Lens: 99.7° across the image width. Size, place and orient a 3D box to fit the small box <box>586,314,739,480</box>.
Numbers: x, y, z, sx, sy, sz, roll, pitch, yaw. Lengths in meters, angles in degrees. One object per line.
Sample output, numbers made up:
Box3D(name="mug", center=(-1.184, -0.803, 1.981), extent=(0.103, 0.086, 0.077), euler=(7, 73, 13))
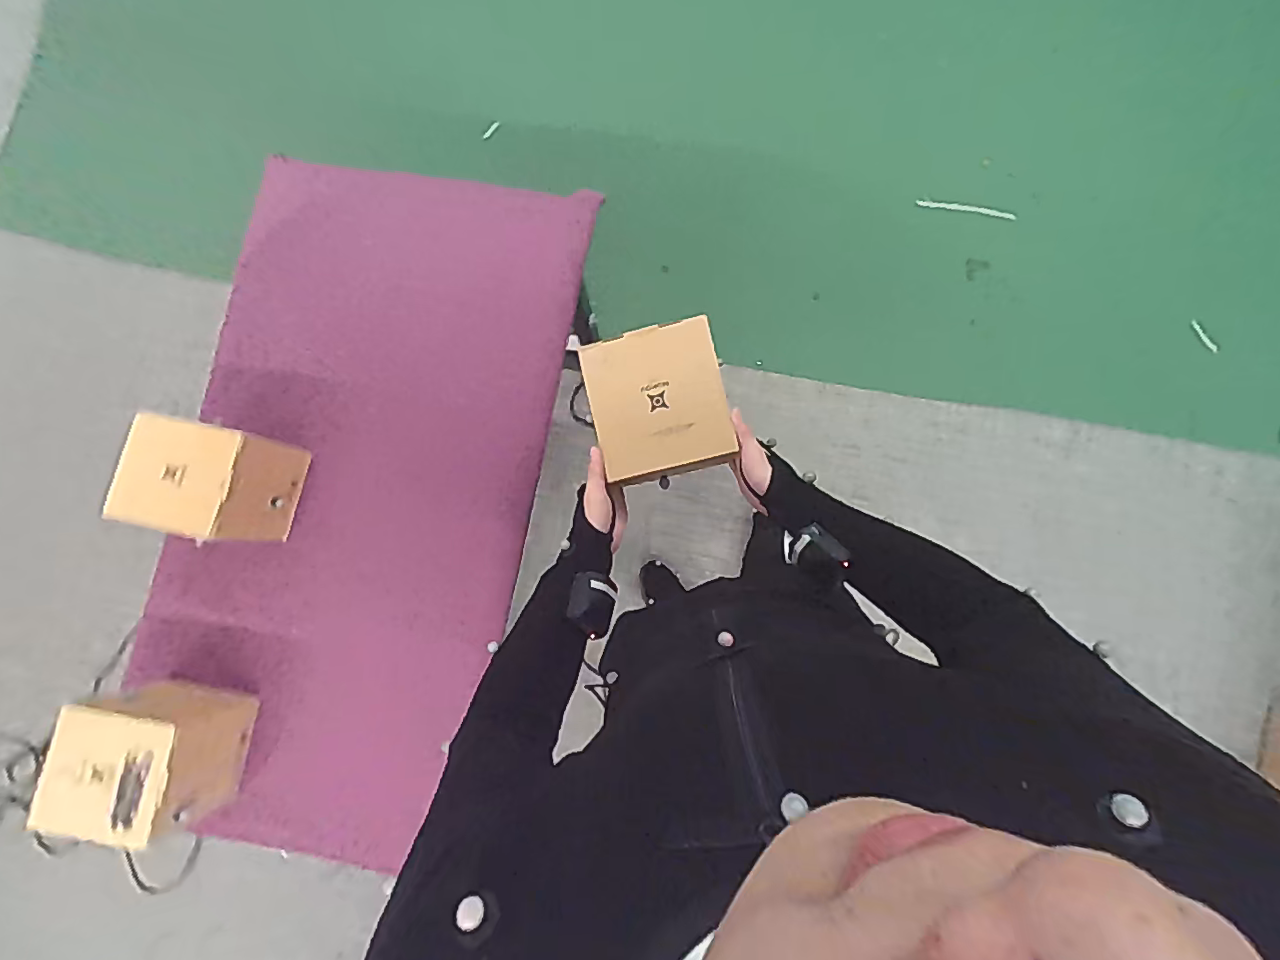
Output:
Box3D(name="small box", center=(0.034, -0.102, 0.746), extent=(0.168, 0.176, 0.179), euler=(-12, 87, 6))

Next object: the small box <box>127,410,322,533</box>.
Box3D(name="small box", center=(-0.692, -0.005, 0.921), extent=(0.179, 0.176, 0.168), euler=(12, 83, 3))
